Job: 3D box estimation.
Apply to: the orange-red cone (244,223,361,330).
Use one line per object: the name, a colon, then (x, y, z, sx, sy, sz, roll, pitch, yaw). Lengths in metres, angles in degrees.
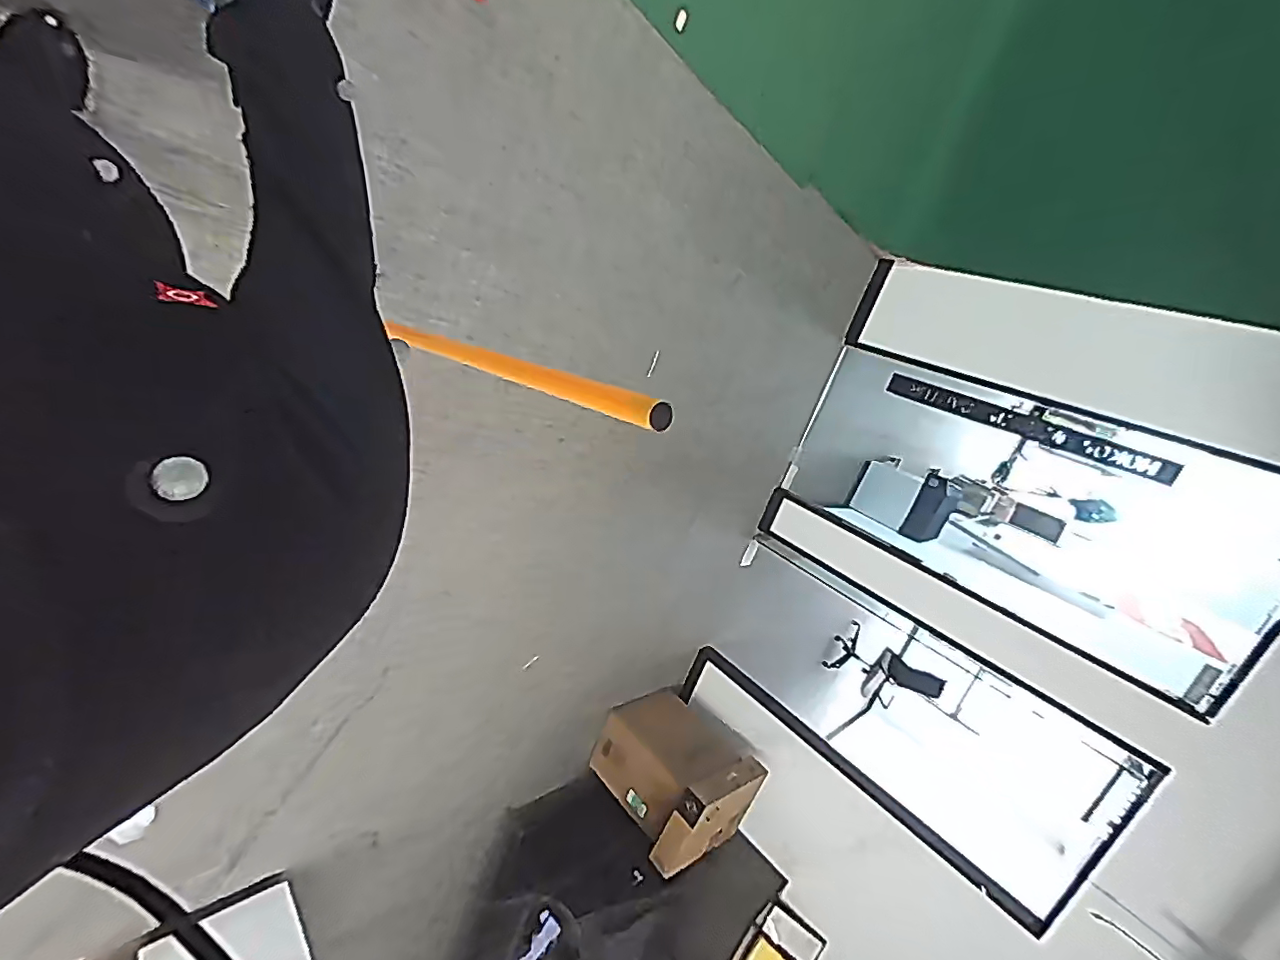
orange-red cone: (-0.666, -0.387, 1.134, 0.199, 0.360, 0.198, 6, 110, -48)
